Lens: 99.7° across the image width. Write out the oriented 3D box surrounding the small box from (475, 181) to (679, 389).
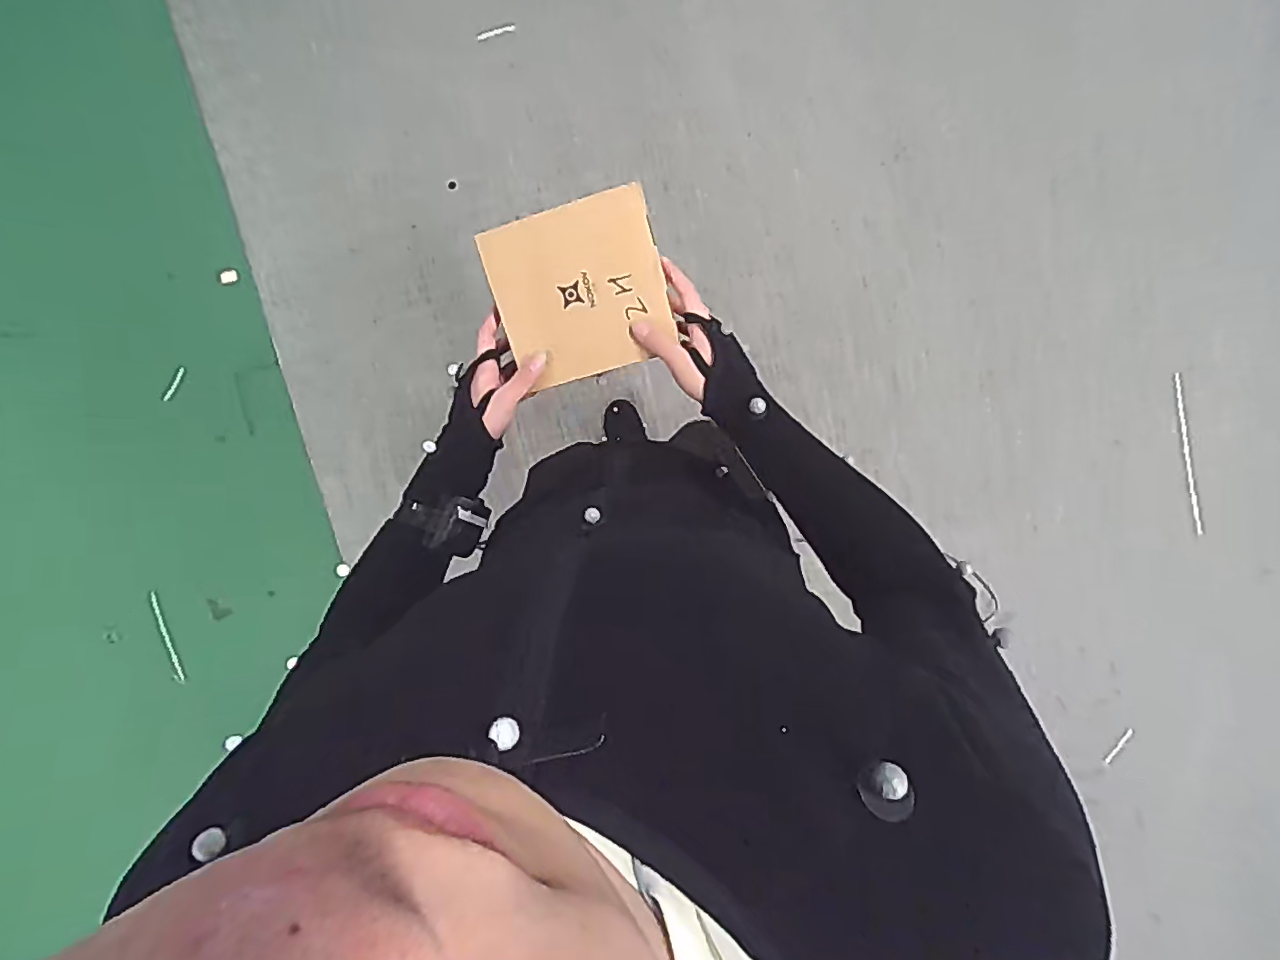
[{"bbox_3d":[-0.056,-0.209,0.618,0.179,0.176,0.168,-14,104,7],"label":"small box"}]
